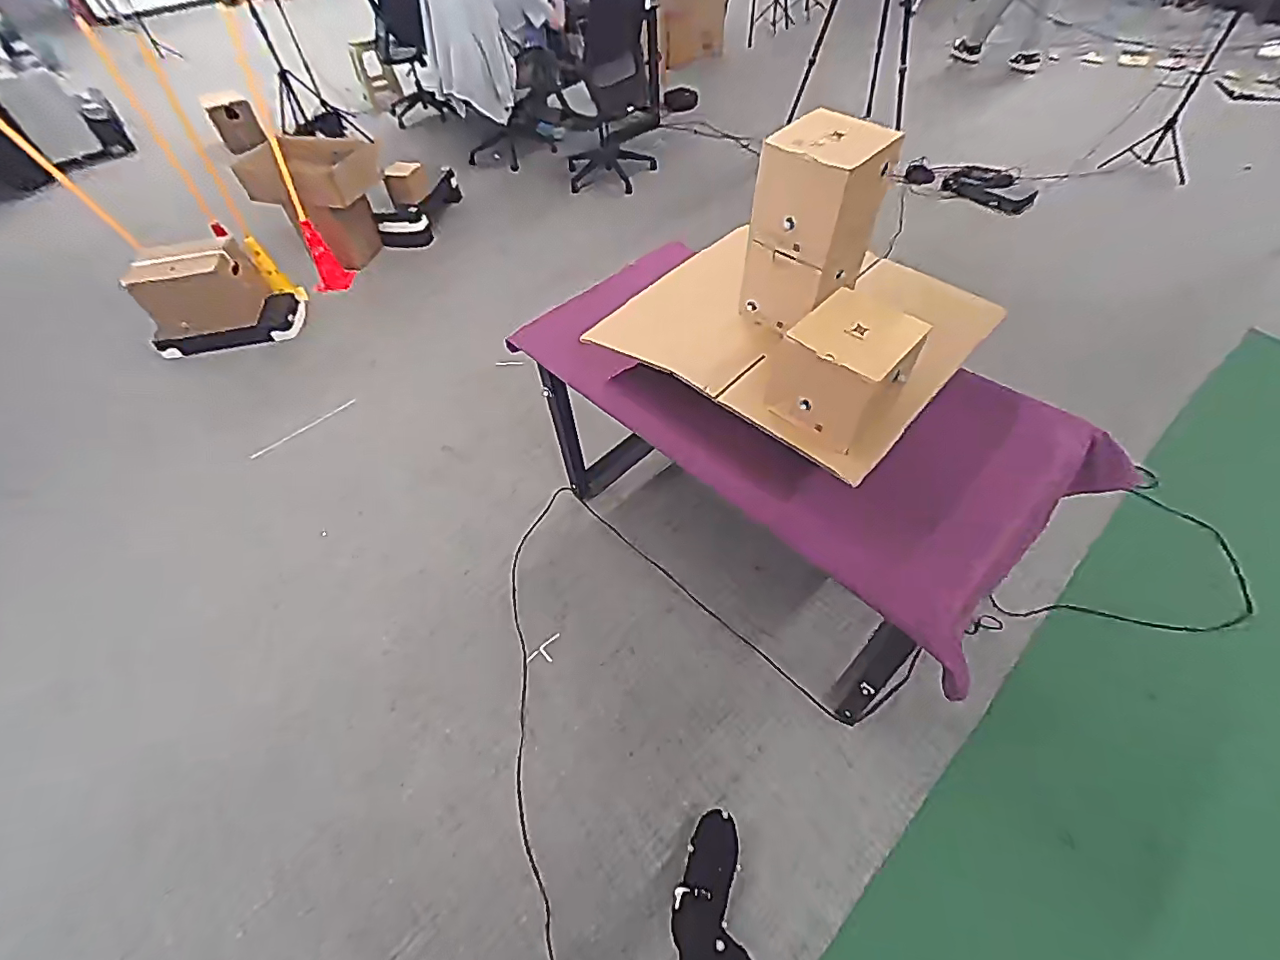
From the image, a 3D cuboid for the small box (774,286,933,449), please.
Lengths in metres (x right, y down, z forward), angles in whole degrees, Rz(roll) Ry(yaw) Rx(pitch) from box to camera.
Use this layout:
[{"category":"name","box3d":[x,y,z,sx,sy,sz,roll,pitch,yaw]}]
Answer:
[{"category":"small box","box3d":[0.346,-0.187,0.912,0.168,0.176,0.179,37,64,25]}]

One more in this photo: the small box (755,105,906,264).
[{"category":"small box","box3d":[0.319,-0.512,0.943,0.168,0.176,0.179,37,64,25]}]

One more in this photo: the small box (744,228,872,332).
[{"category":"small box","box3d":[0.322,-0.413,1.074,0.168,0.176,0.179,37,63,24]}]
